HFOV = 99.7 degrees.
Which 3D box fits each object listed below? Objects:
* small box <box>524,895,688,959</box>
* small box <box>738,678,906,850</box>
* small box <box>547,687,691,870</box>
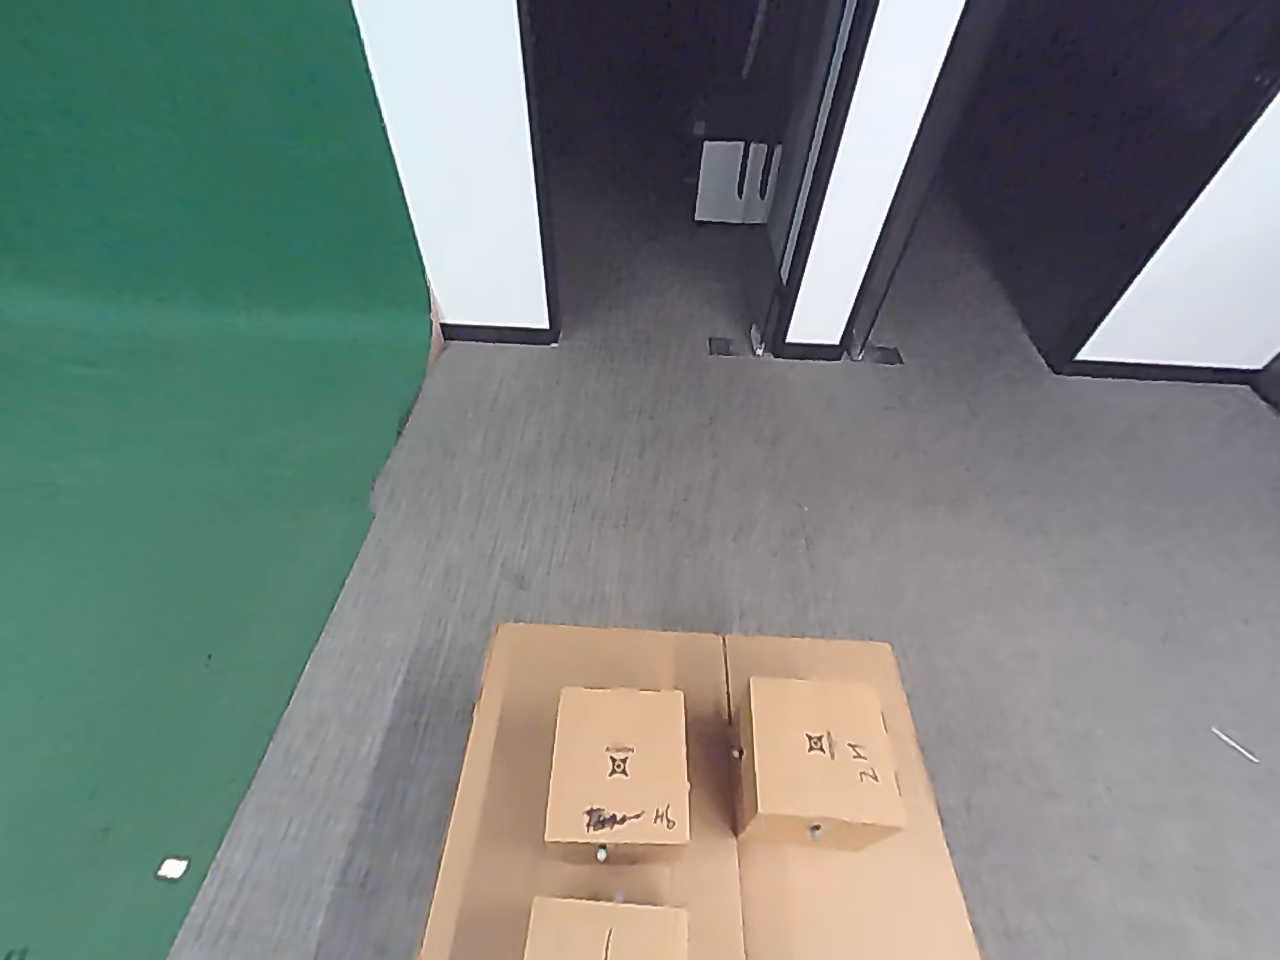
[{"bbox_3d":[-0.037,0.561,0.569,0.168,0.176,0.179,3,47,1],"label":"small box"},{"bbox_3d":[0.228,0.389,0.736,0.179,0.176,0.168,4,48,3],"label":"small box"},{"bbox_3d":[-0.024,0.396,0.719,0.168,0.176,0.179,1,47,0],"label":"small box"}]
